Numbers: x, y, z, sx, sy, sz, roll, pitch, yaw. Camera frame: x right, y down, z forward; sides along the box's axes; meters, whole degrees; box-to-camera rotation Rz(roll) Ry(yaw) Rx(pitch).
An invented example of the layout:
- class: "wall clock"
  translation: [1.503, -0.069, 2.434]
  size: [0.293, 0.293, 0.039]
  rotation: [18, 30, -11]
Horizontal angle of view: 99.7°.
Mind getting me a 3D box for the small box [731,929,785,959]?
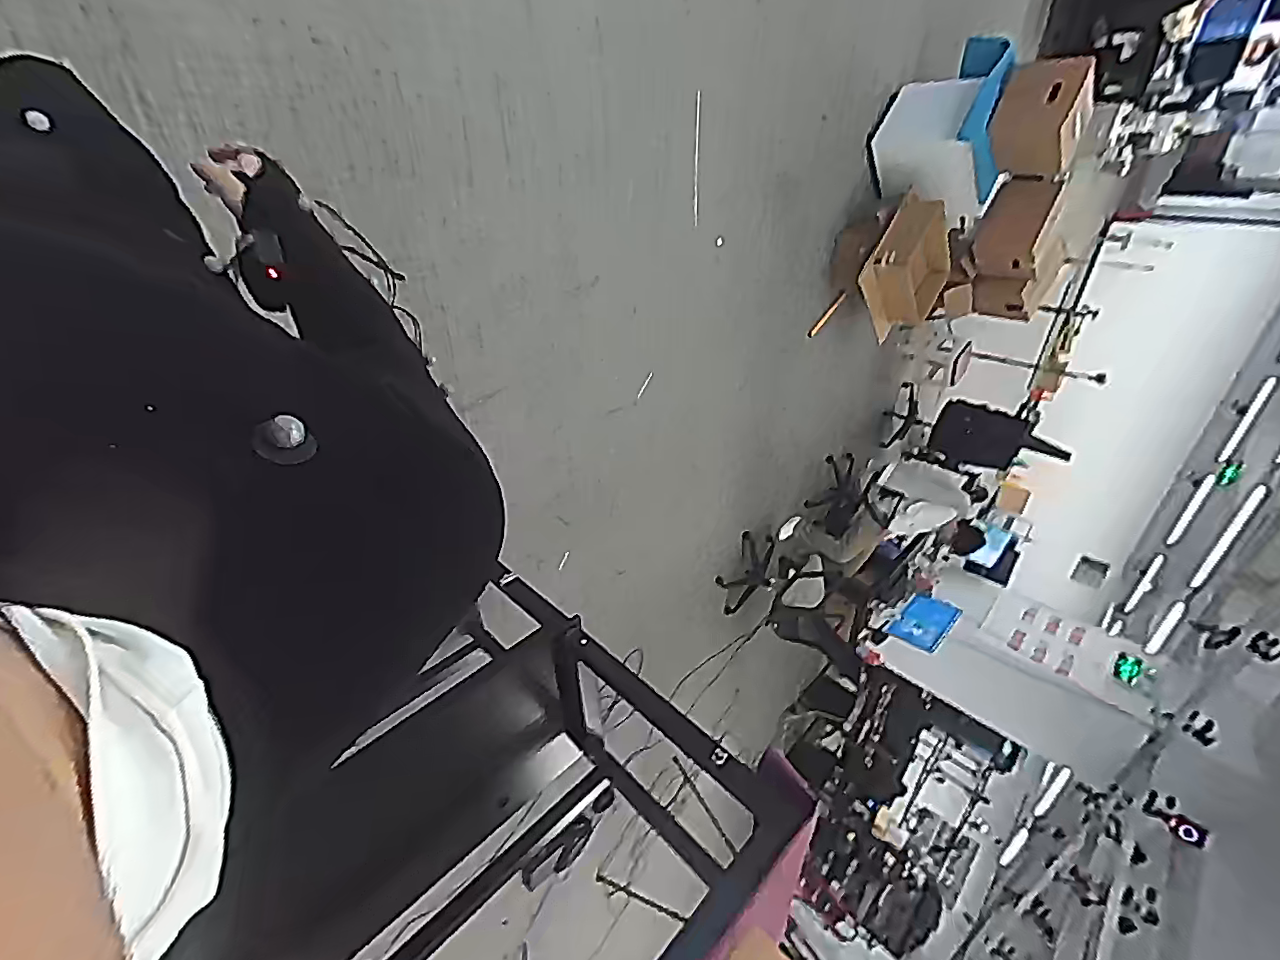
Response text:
- class: "small box"
  translation: [0.209, 0.945, 0.937]
  size: [0.179, 0.176, 0.168]
  rotation: [-31, 131, -34]
